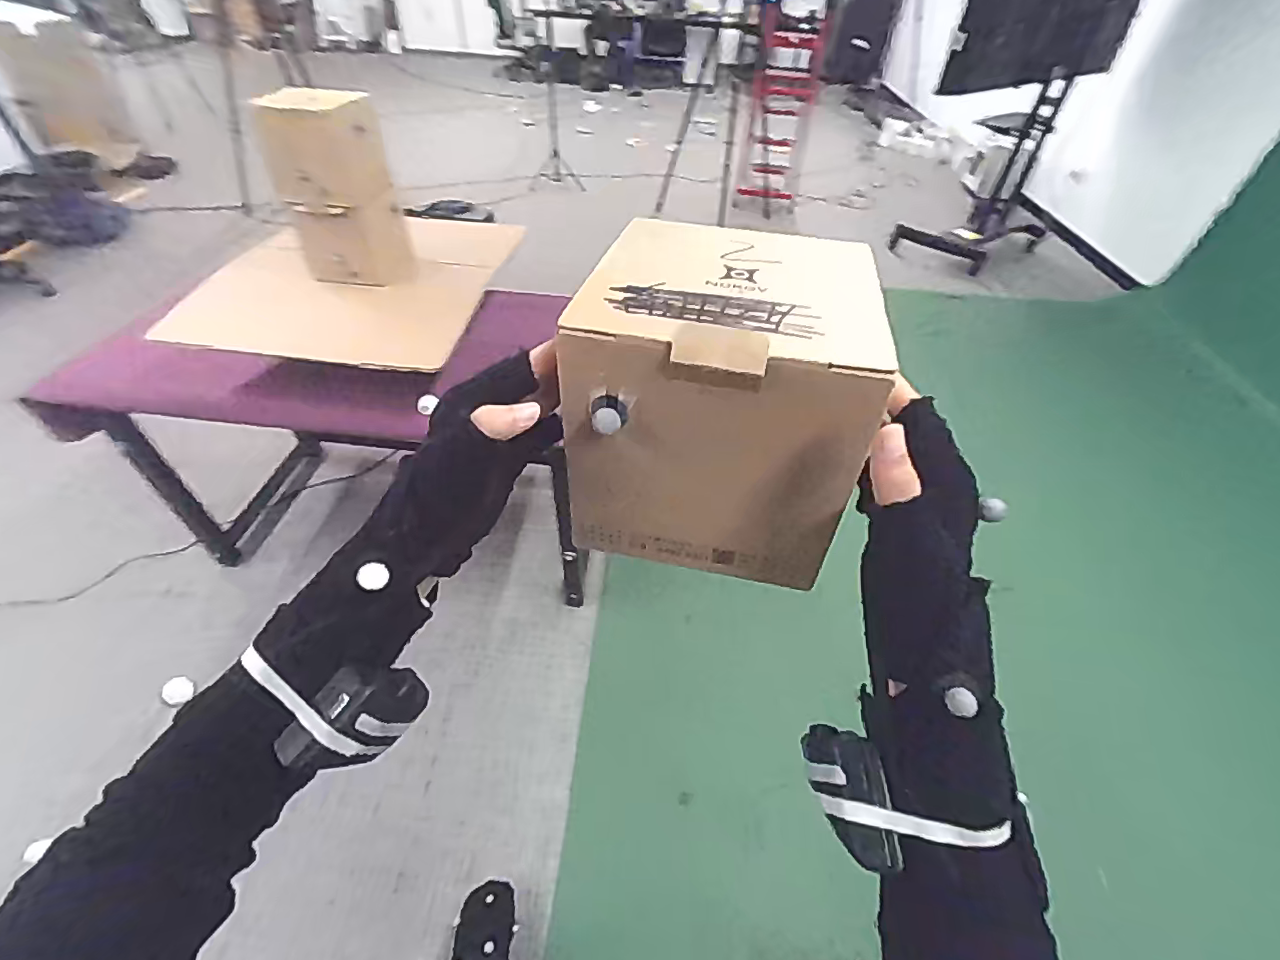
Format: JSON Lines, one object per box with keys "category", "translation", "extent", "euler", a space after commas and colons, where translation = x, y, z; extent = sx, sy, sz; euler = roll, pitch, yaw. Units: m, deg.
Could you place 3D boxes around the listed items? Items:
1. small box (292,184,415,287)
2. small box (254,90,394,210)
{"category": "small box", "translation": [-0.629, -0.558, 1.218], "extent": [0.168, 0.176, 0.179], "euler": [7, 44, 4]}
{"category": "small box", "translation": [-0.624, -0.670, 1.099], "extent": [0.168, 0.176, 0.179], "euler": [6, 45, 2]}
